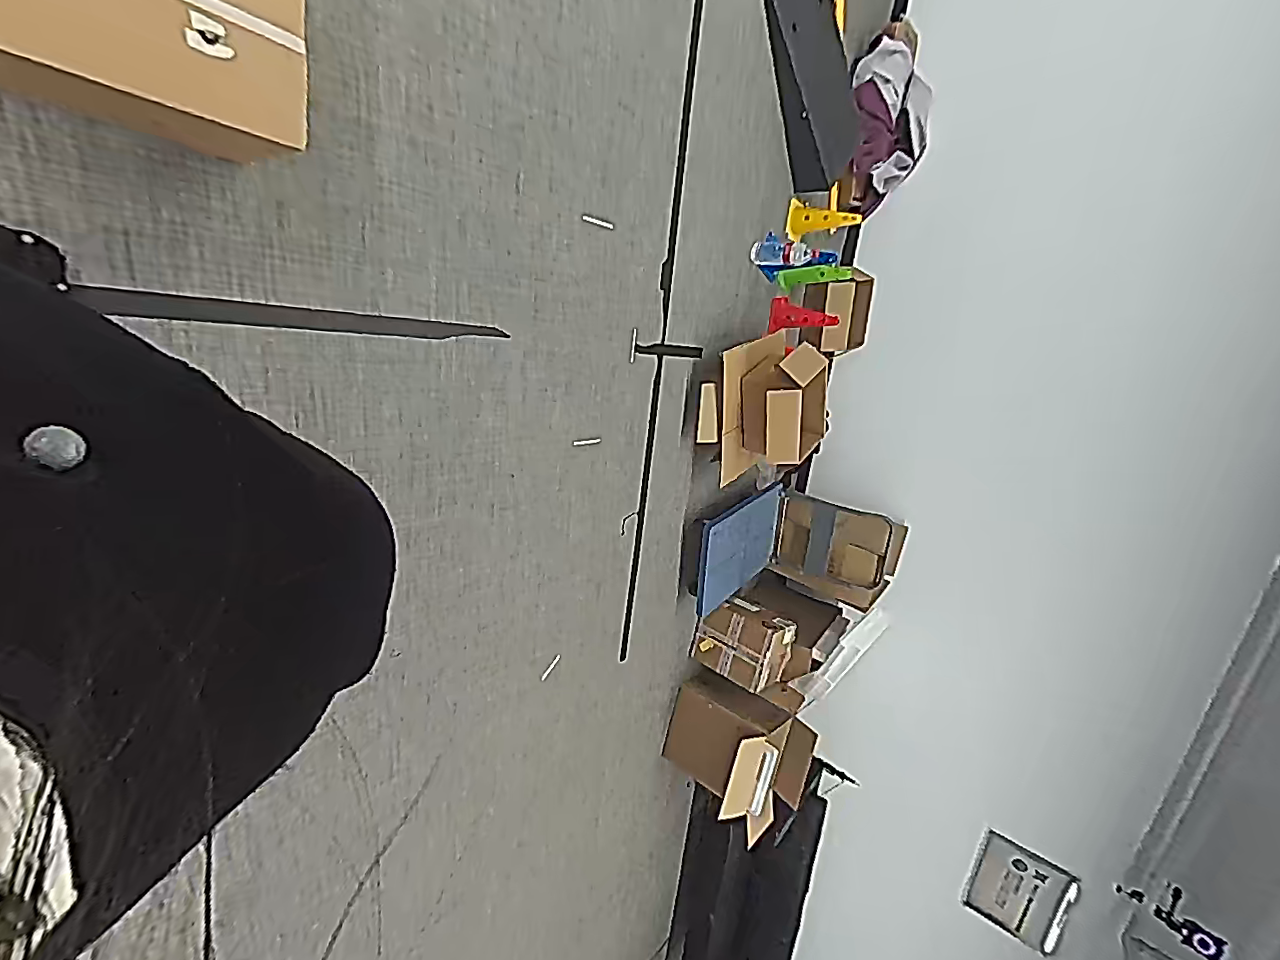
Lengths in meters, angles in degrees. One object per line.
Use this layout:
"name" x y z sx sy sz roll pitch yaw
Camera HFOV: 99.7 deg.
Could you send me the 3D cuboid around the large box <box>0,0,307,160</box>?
"large box" -0.810 -0.748 0.850 0.408 0.320 0.320 -10 113 -52
